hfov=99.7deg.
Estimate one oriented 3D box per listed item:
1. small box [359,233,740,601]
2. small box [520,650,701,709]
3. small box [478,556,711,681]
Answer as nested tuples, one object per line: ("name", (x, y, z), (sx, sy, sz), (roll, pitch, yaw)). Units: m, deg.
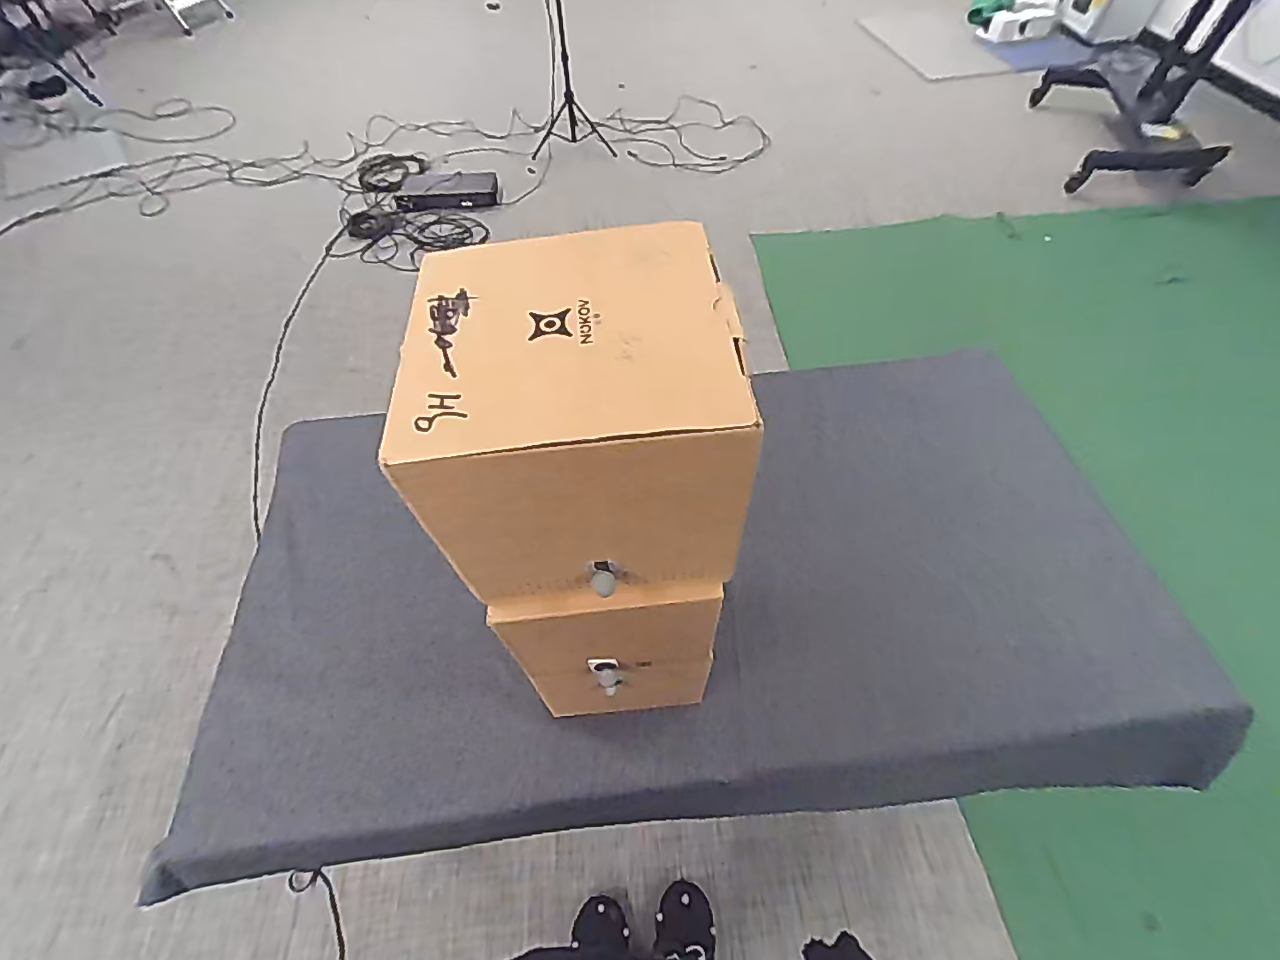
("small box", (-0.044, -0.033, 0.354), (0.179, 0.176, 0.168), (-6, 55, -1))
("small box", (-0.030, 0.154, 0.619), (0.179, 0.176, 0.168), (-4, 55, -2))
("small box", (-0.035, 0.064, 0.486), (0.168, 0.176, 0.179), (-7, 56, 0))
